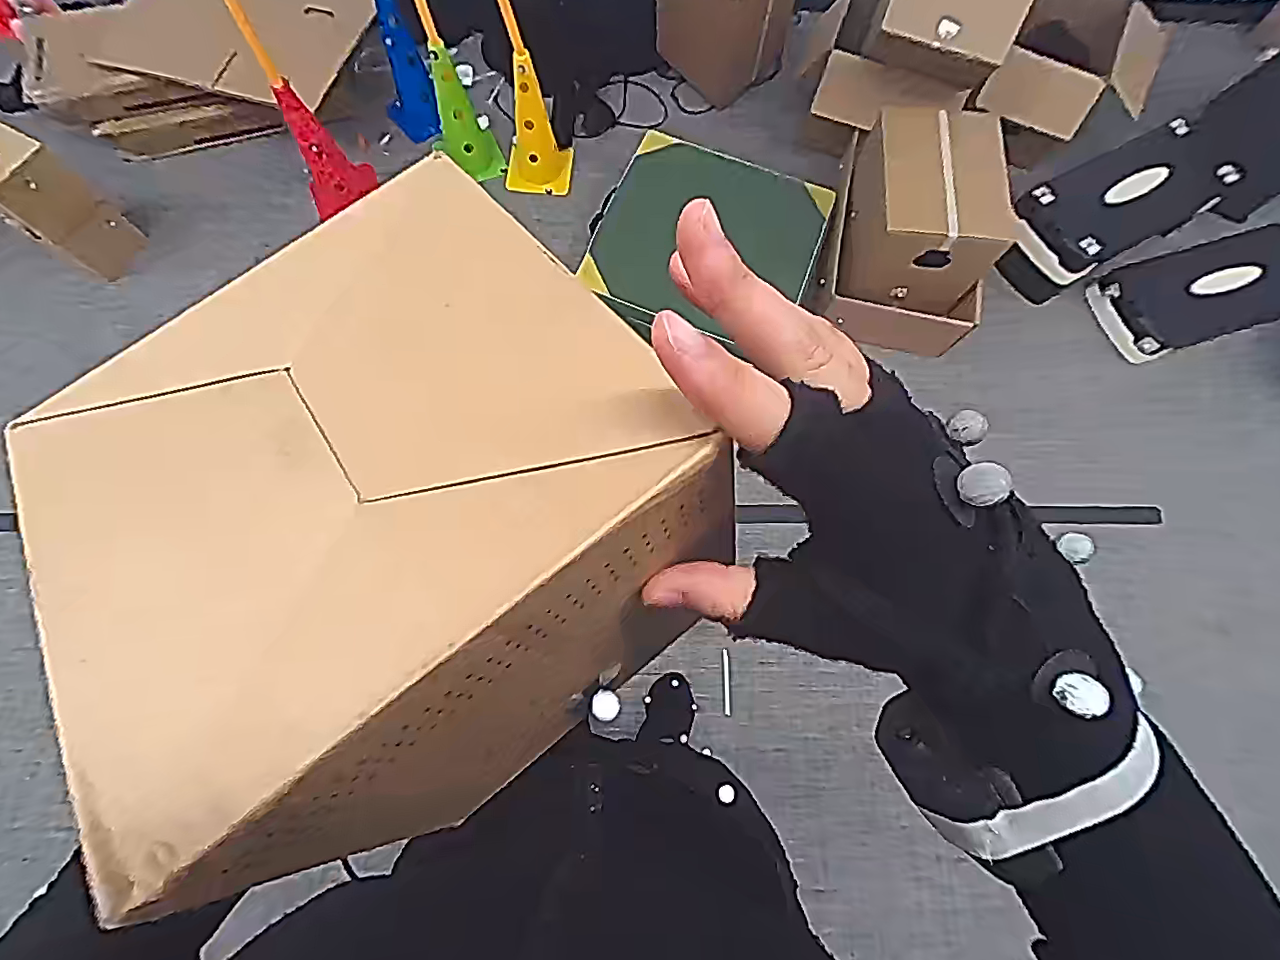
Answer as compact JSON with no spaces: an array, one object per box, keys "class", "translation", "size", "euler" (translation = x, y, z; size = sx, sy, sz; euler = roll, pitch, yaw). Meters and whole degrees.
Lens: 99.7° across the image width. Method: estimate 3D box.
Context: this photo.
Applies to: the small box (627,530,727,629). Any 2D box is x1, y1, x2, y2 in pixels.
[{"class":"small box","translation":[0.083,0.247,1.308],"size":[0.179,0.176,0.168],"euler":[-31,77,-11]}]
